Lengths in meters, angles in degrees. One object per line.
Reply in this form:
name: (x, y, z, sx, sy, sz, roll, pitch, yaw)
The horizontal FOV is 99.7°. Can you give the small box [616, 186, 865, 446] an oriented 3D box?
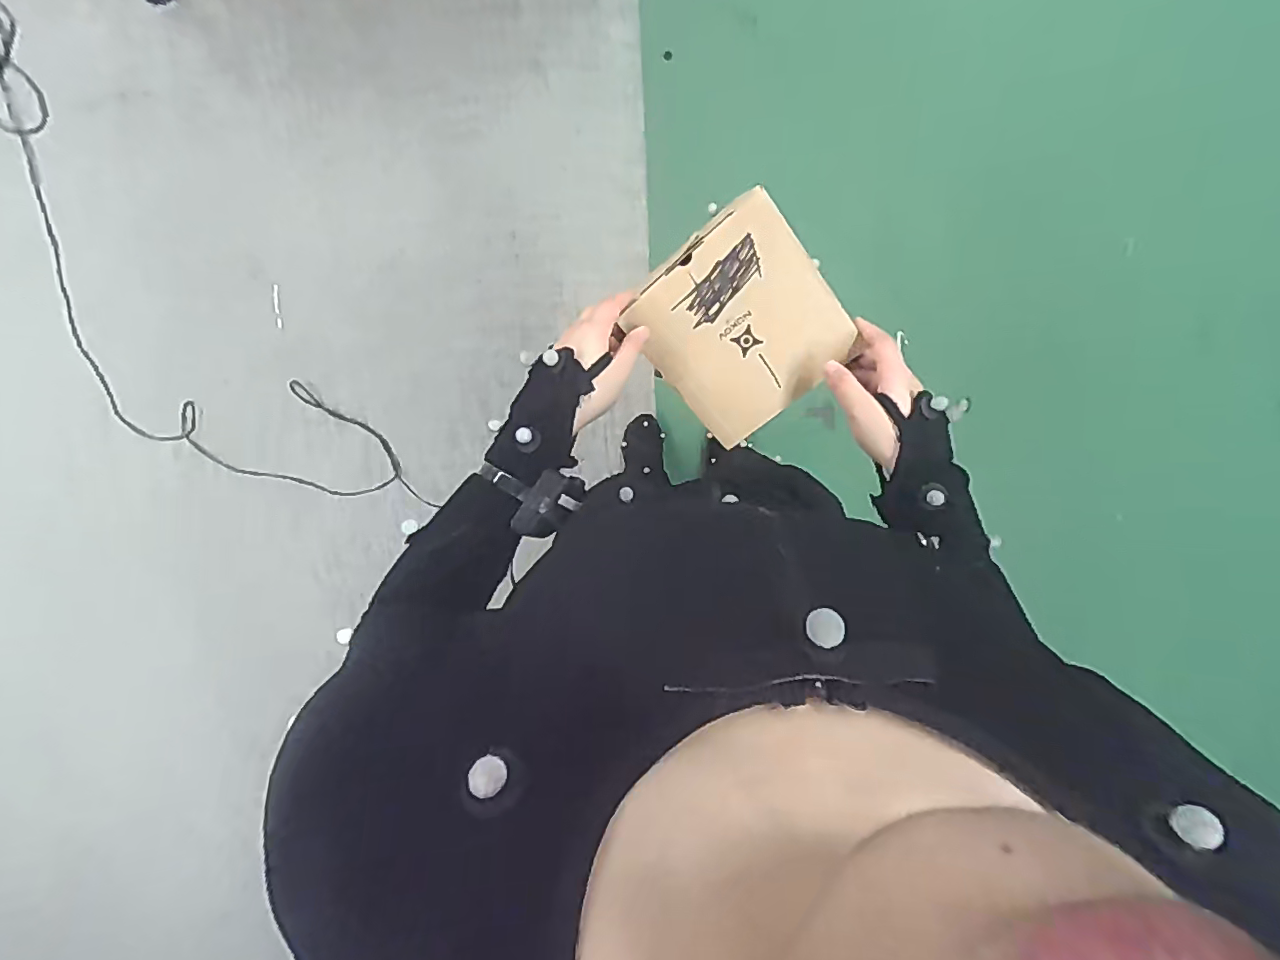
small box: (0.095, -0.172, 0.568, 0.168, 0.176, 0.179, -38, 109, 19)
